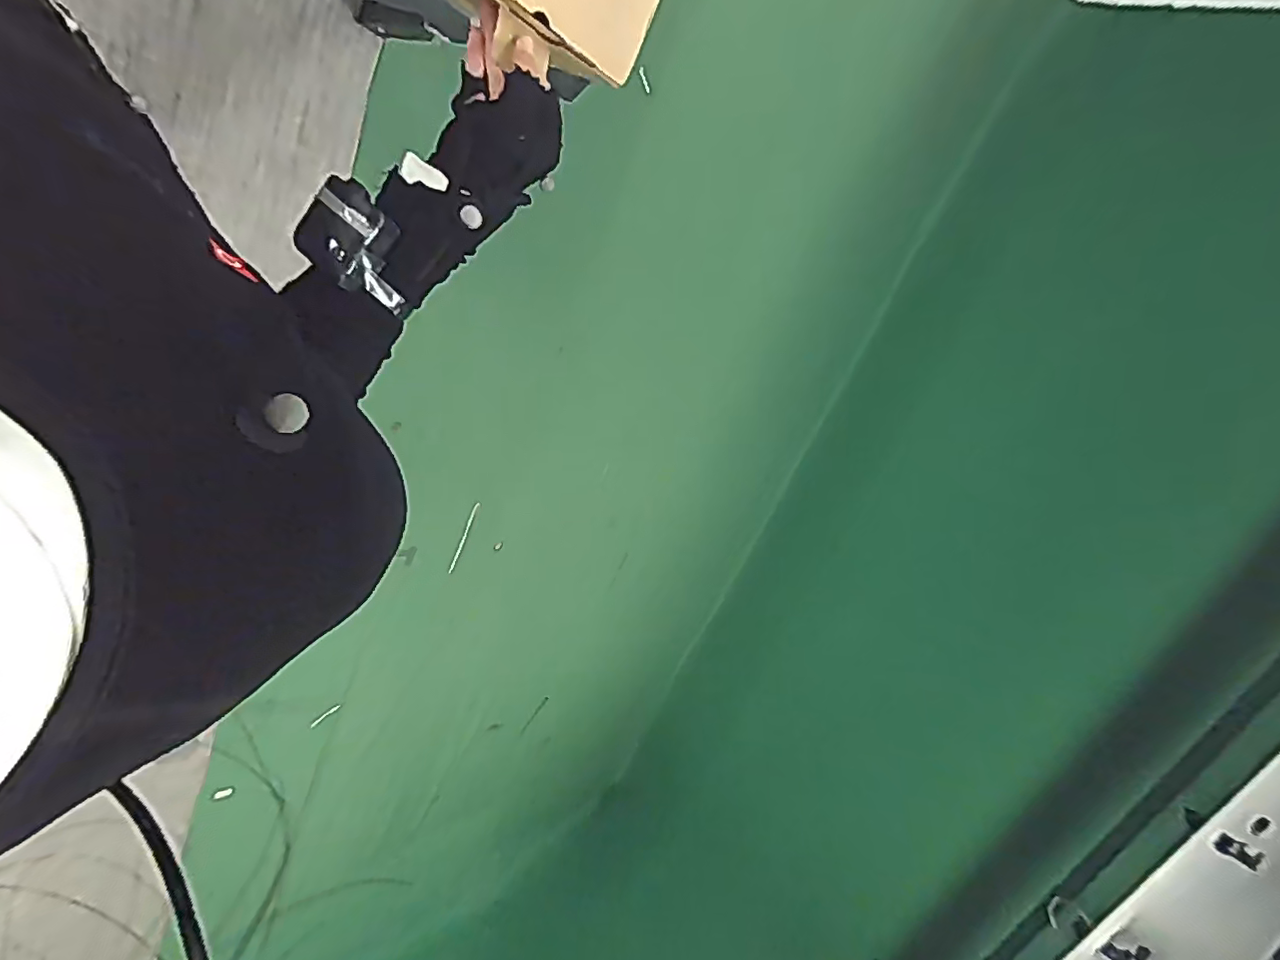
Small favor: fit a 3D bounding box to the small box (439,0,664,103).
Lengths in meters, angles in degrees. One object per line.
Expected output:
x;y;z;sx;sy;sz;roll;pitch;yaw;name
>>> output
-0.079;-0.428;0.396;0.168;0.176;0.179;1;126;-48;small box
